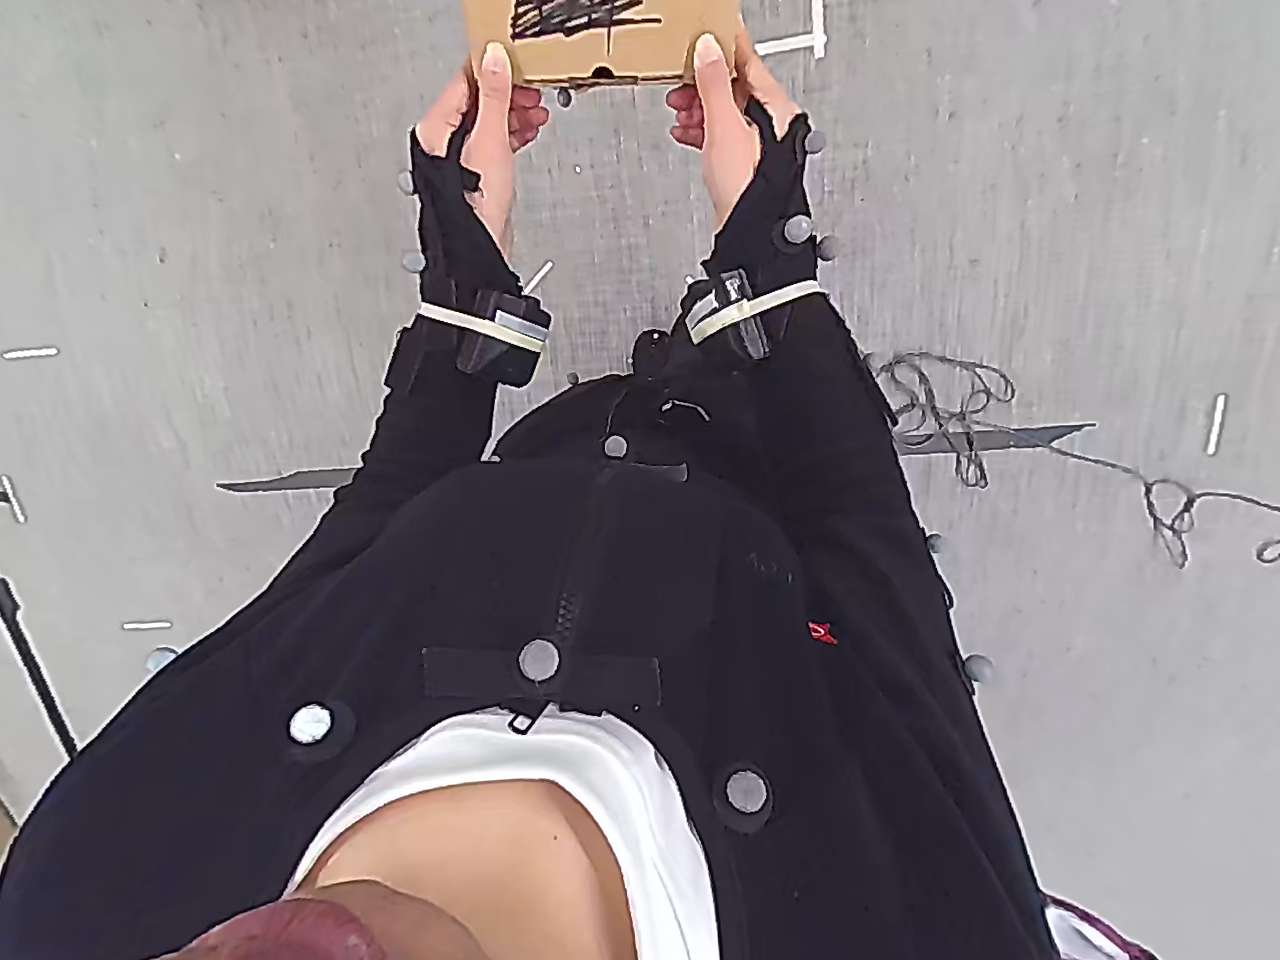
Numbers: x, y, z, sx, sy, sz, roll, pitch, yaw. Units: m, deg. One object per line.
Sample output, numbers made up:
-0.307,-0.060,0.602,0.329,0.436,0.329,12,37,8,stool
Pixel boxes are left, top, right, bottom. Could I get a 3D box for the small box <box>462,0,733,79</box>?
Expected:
-0.019,-0.372,0.354,0.168,0.176,0.179,2,125,4,small box
